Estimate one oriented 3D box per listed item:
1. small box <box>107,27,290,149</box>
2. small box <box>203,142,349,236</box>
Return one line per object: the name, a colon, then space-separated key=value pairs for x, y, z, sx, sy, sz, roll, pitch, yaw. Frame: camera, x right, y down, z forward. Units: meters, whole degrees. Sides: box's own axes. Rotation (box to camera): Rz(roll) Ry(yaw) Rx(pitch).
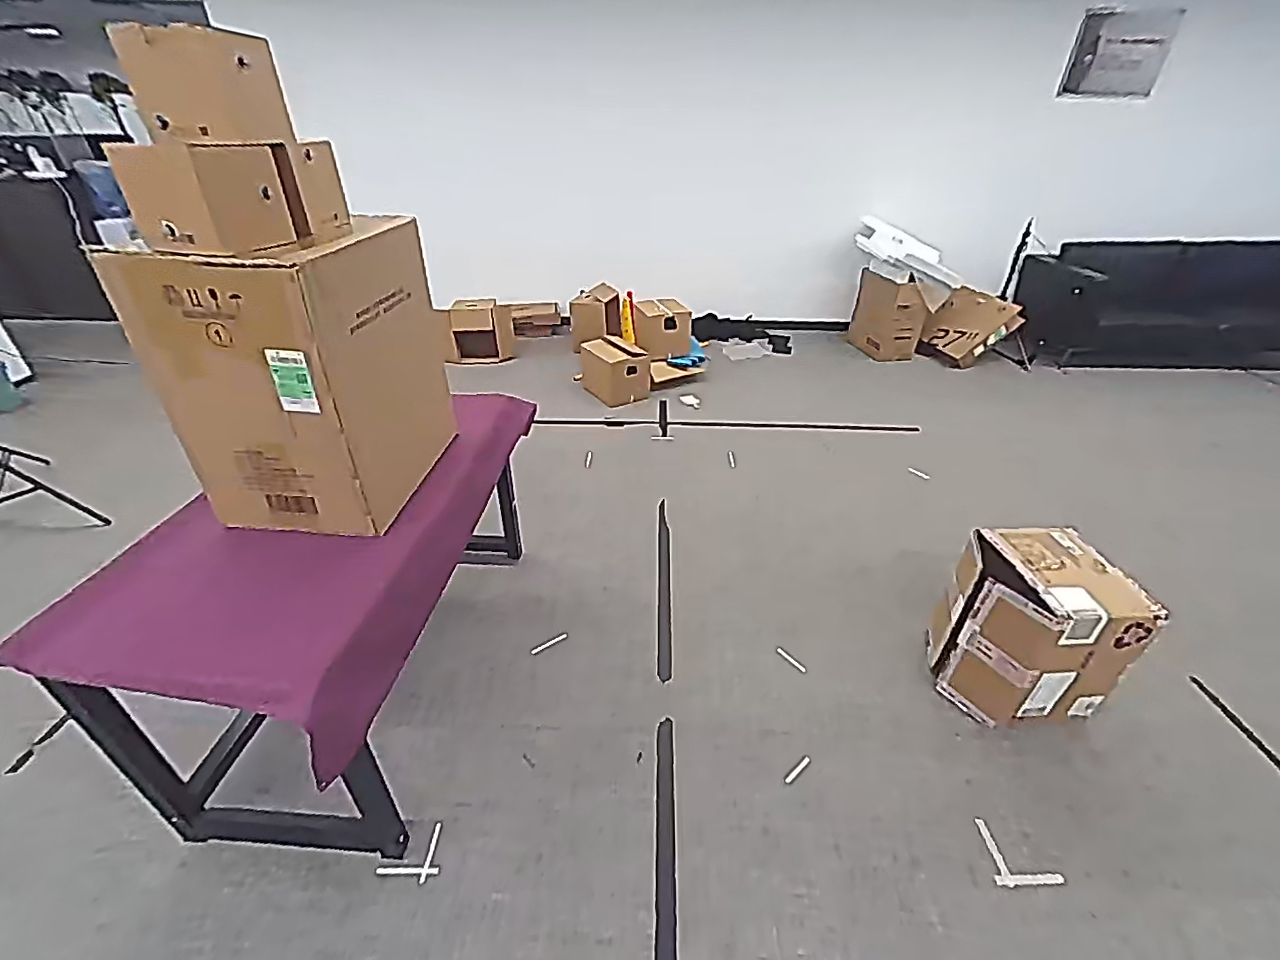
small box: x=-0.781 y=-0.704 z=0.984 sx=0.168 sy=0.176 sz=0.179 roll=1 pitch=33 yaw=0
small box: x=-0.774 y=-0.631 z=1.173 sx=0.179 sy=0.176 sz=0.168 roll=2 pitch=35 yaw=3
